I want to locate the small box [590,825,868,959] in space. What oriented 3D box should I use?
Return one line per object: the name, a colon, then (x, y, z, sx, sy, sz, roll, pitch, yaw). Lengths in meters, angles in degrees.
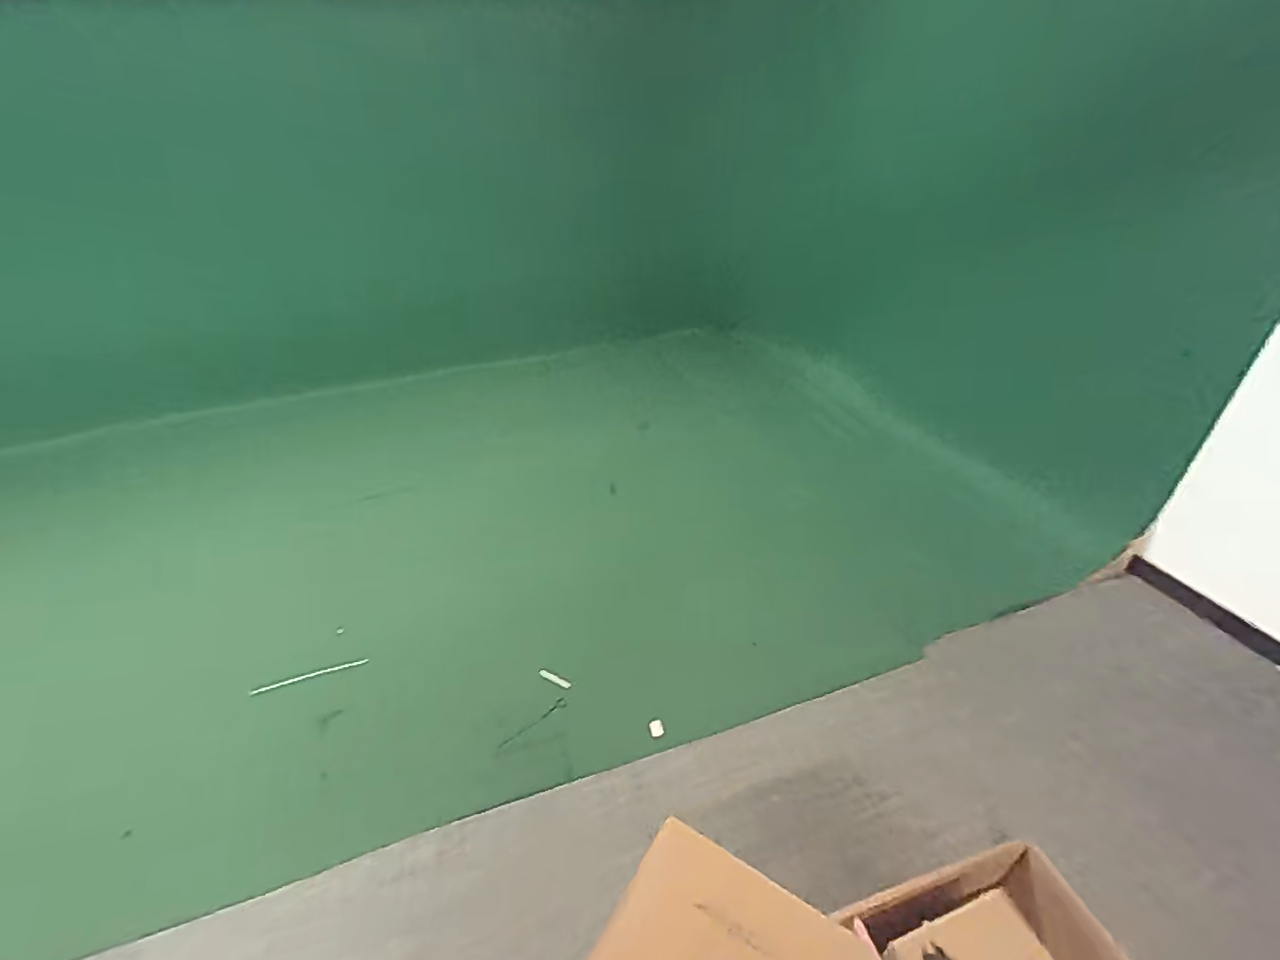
small box: (0.045, 0.409, 0.384, 0.168, 0.176, 0.179, 18, 36, 26)
